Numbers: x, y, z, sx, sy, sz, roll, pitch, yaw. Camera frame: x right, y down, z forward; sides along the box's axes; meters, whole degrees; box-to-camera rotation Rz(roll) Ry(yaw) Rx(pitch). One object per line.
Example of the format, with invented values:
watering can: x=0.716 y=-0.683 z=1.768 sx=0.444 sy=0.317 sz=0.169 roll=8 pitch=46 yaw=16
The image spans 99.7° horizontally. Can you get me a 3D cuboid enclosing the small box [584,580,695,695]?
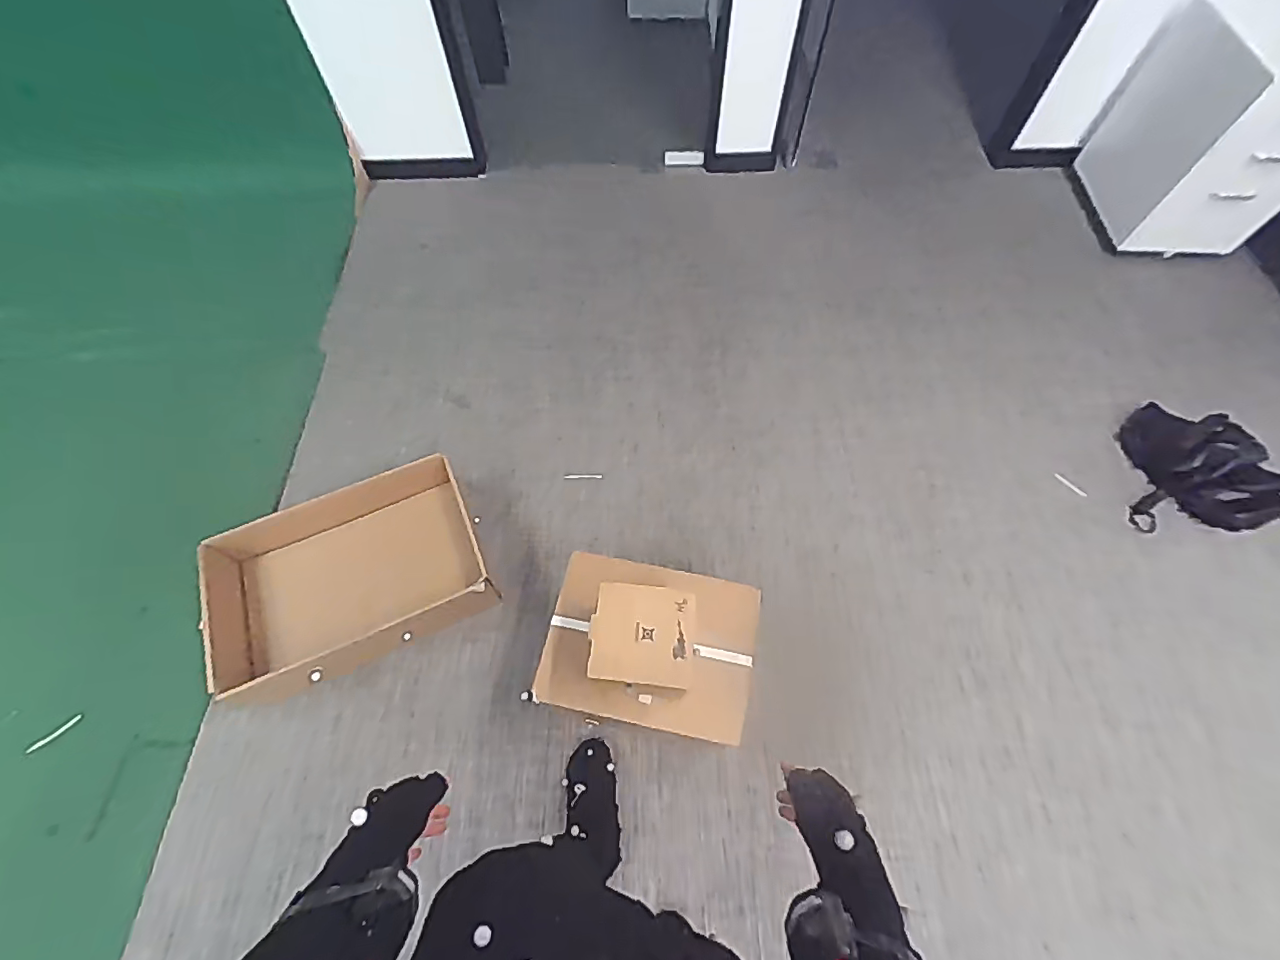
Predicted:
small box: x=0.004 y=0.294 z=0.991 sx=0.179 sy=0.176 sz=0.168 roll=5 pitch=63 yaw=4
